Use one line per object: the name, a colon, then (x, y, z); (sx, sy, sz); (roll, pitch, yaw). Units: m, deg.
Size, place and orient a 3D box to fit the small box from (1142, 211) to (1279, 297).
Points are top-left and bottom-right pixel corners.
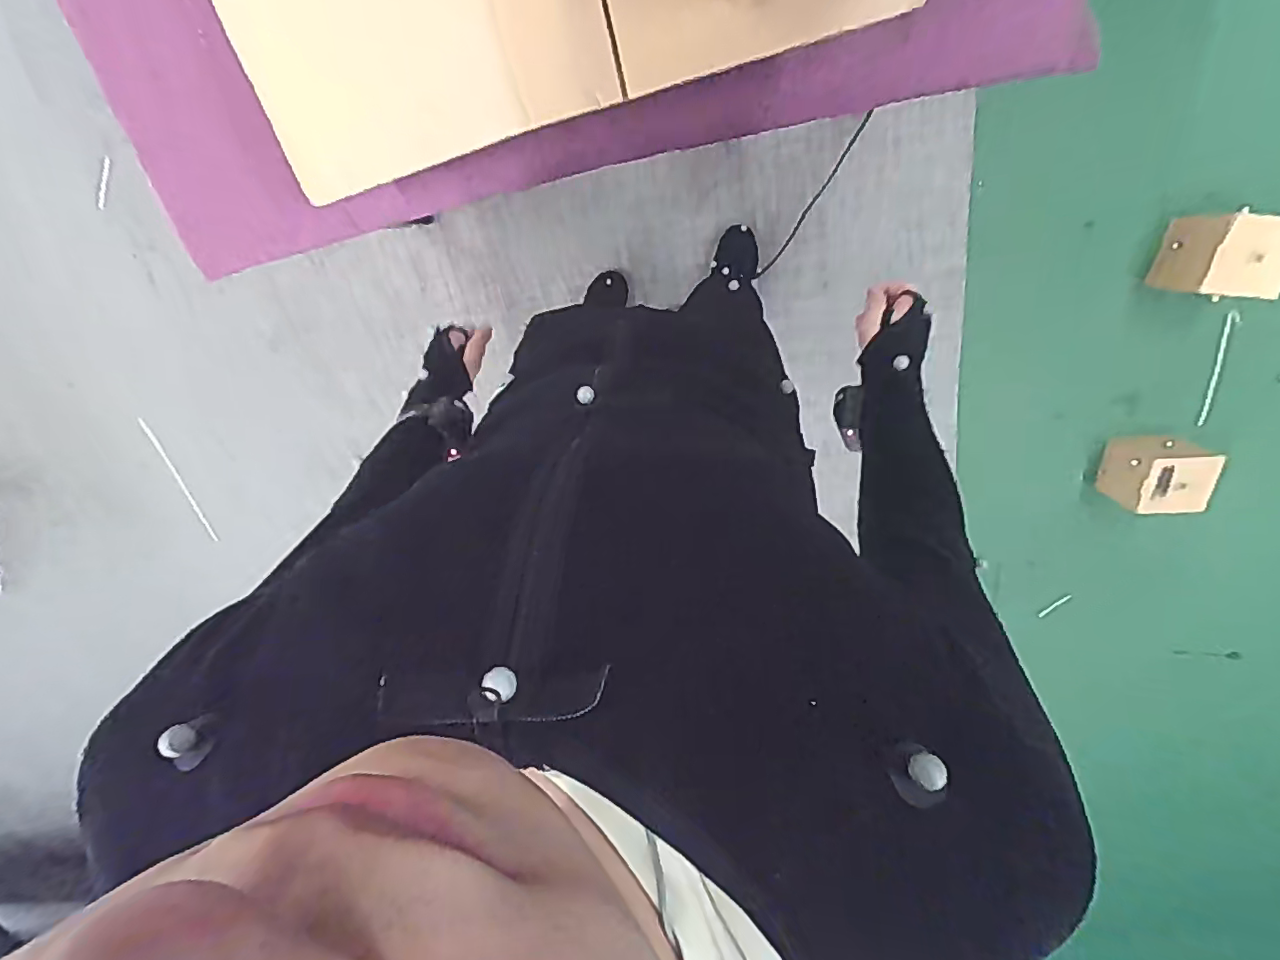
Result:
small box: (1.361, -0.534, 1.269); (0.179, 0.176, 0.168); (6, 116, 3)
